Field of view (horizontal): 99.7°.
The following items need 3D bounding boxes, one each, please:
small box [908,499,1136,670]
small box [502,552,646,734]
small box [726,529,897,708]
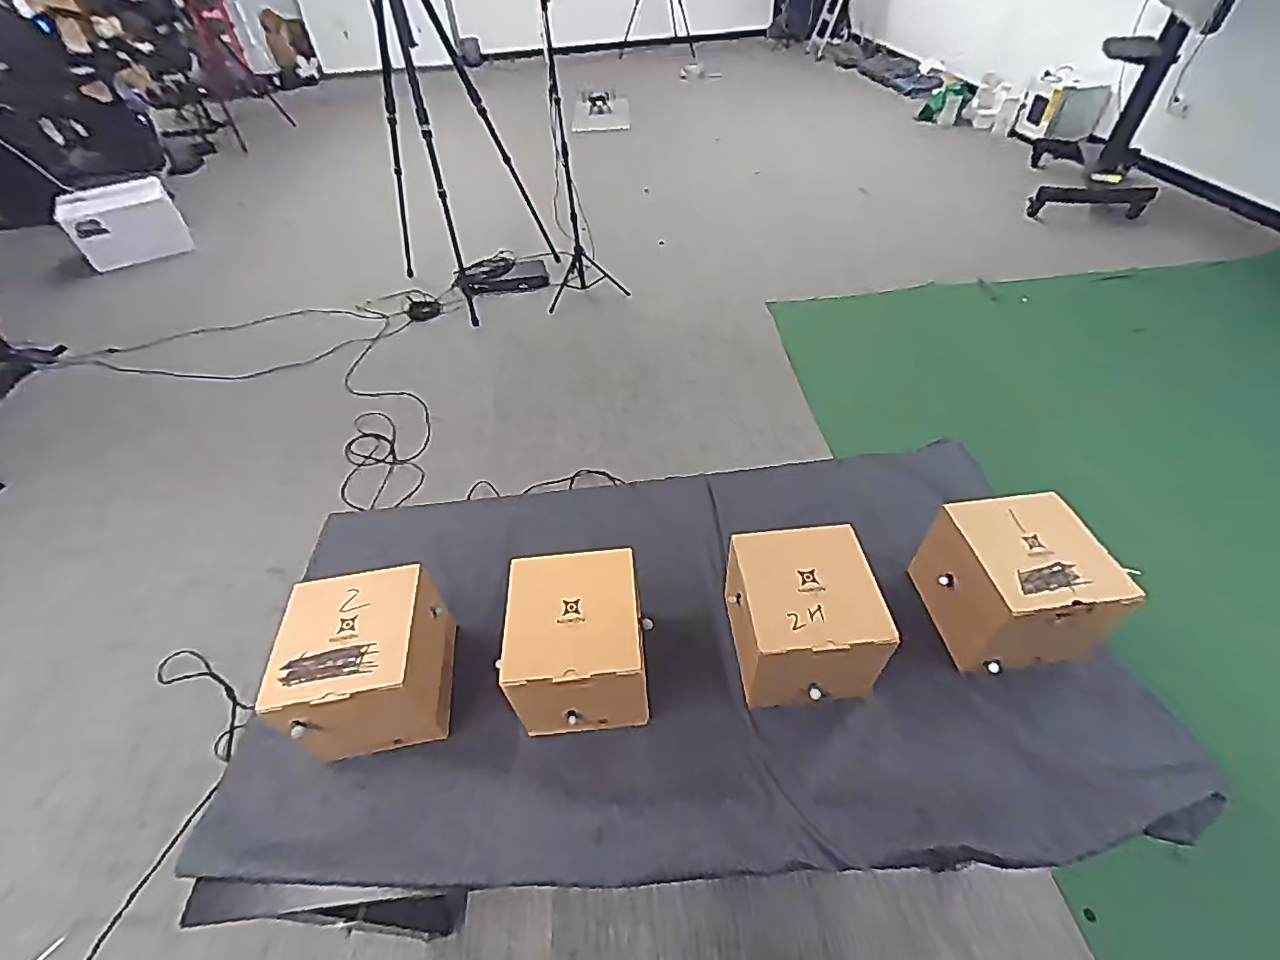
[{"bbox_3d":[0.512,0.152,0.760,0.168,0.176,0.179,-5,46,-2],"label":"small box"},{"bbox_3d":[-0.081,0.220,0.731,0.168,0.176,0.179,-5,47,-2],"label":"small box"},{"bbox_3d":[0.216,0.190,0.741,0.168,0.176,0.179,-5,47,-1],"label":"small box"}]
